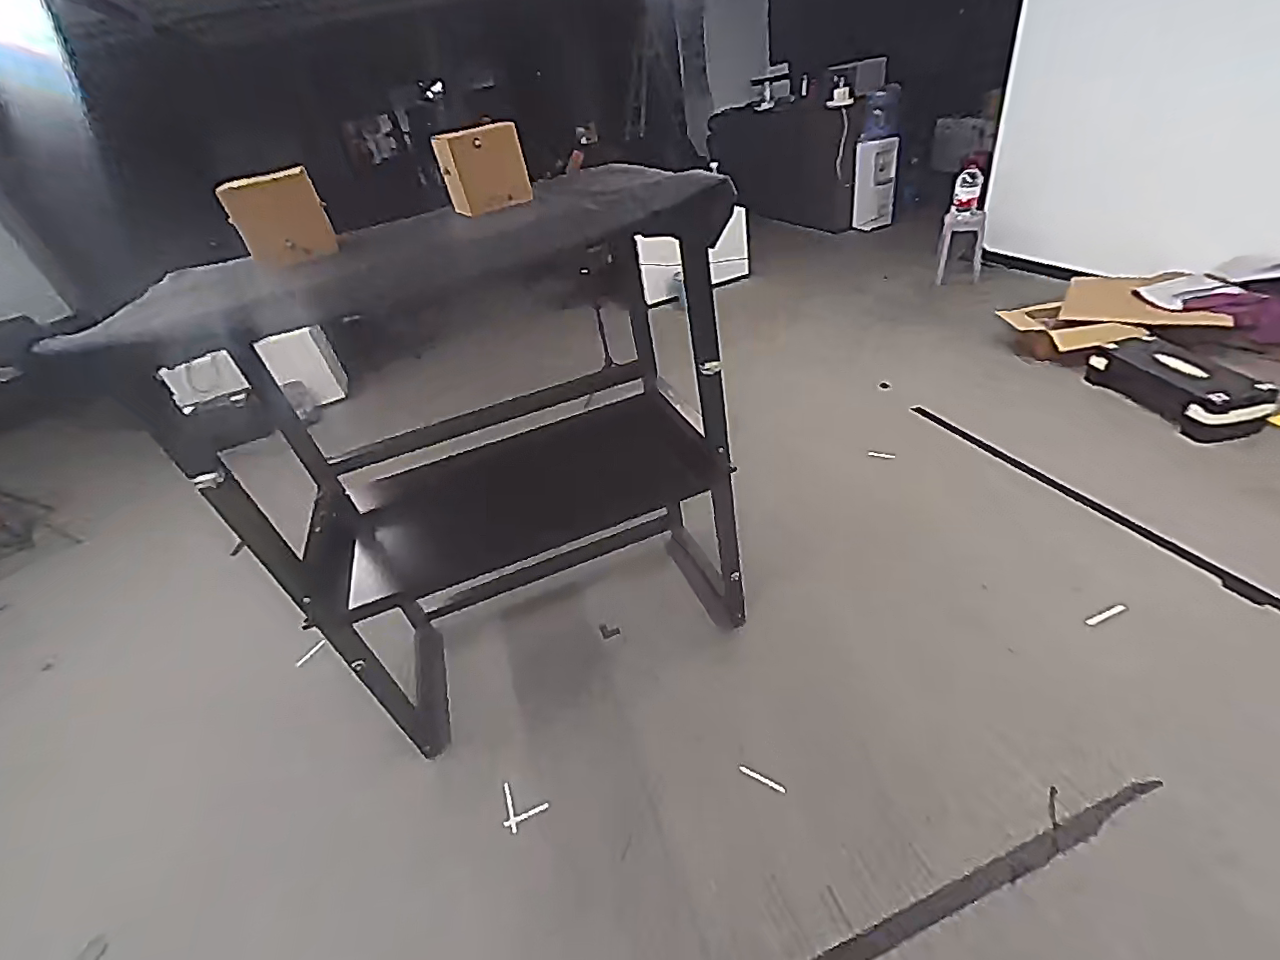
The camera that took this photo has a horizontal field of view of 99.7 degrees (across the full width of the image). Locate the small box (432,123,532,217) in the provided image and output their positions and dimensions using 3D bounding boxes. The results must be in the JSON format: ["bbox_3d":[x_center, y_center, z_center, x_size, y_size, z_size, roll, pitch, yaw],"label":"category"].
[{"bbox_3d":[-0.386,-0.758,1.329,0.168,0.176,0.179,-27,38,-17],"label":"small box"}]
